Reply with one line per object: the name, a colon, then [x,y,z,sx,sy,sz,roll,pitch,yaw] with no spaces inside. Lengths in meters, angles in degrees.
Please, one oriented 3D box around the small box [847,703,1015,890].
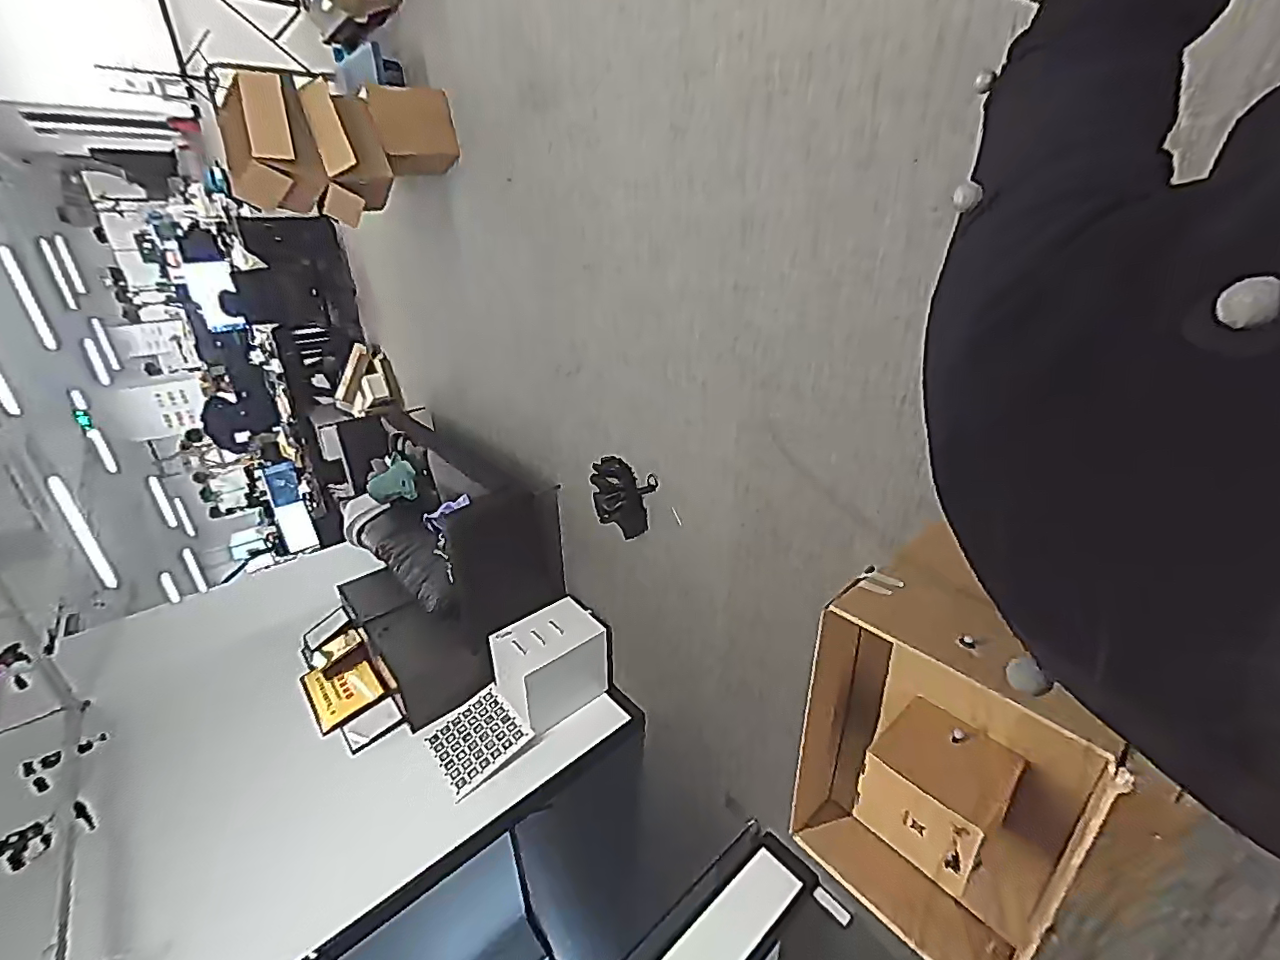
small box: [0.472,0.500,0.887,0.179,0.176,0.168,25,128,45]
